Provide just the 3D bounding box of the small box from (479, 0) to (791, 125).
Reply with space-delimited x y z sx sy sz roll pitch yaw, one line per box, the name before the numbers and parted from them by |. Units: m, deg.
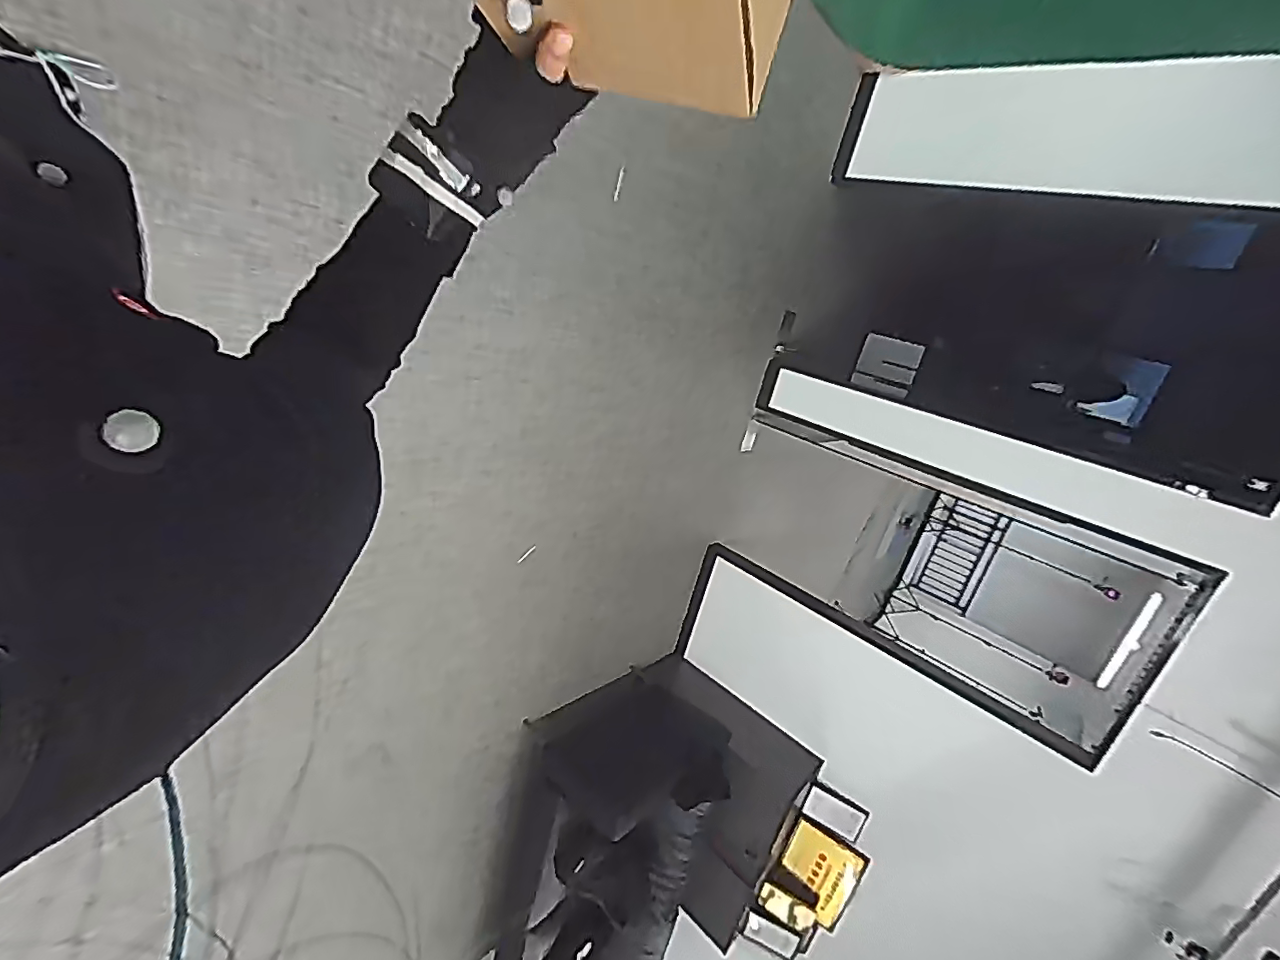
small box | 0.002 -0.324 0.271 0.179 0.176 0.168 -26 134 -76
